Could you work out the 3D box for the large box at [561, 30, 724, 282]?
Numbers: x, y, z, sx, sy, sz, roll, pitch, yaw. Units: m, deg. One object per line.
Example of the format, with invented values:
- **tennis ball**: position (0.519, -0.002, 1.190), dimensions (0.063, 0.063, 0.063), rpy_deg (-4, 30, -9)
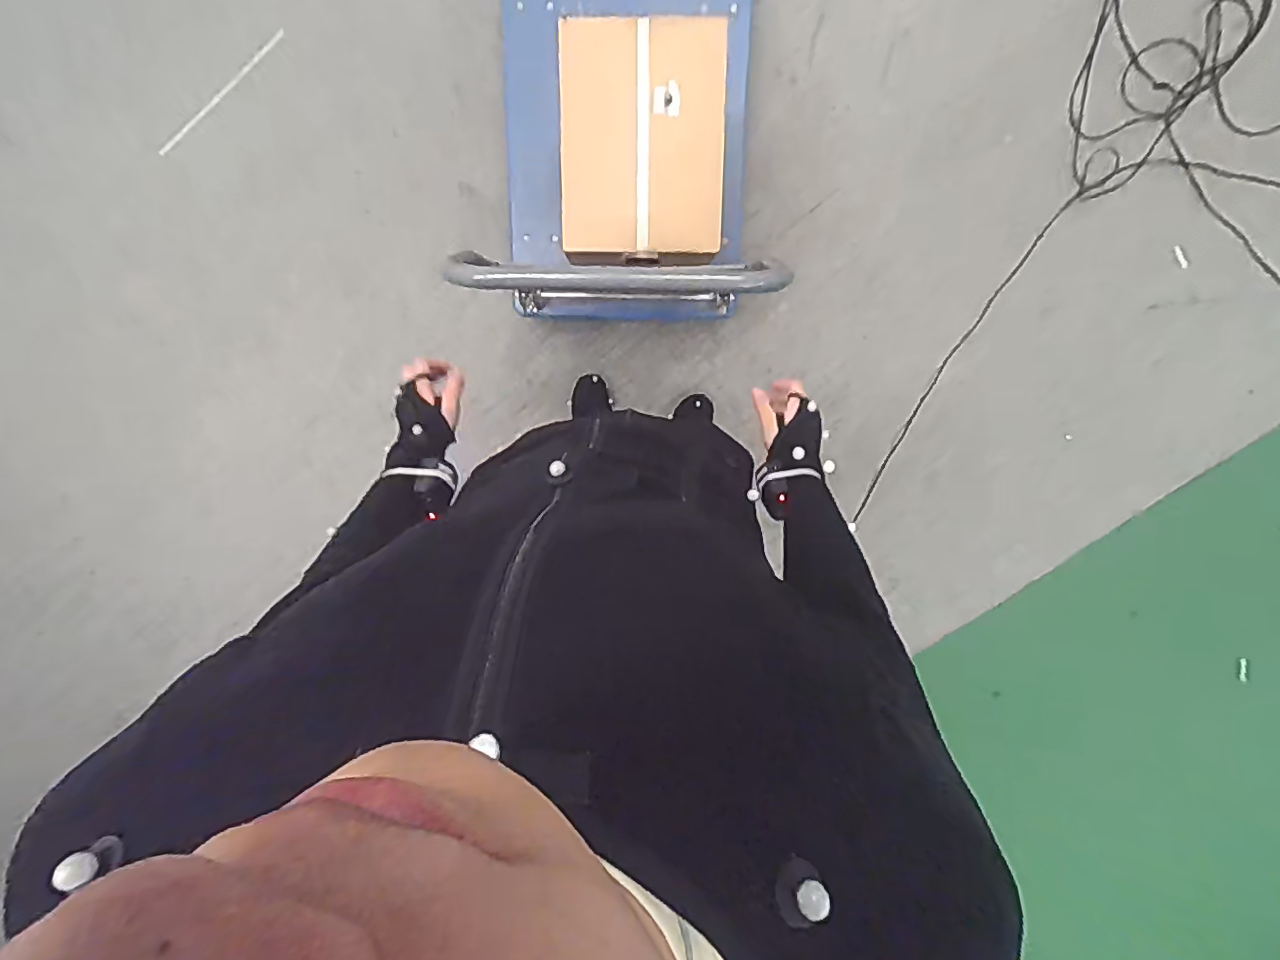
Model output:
- **large box**: position (0.007, -0.673, 1.194), dimensions (0.320, 0.320, 0.408), rpy_deg (0, 101, -1)
